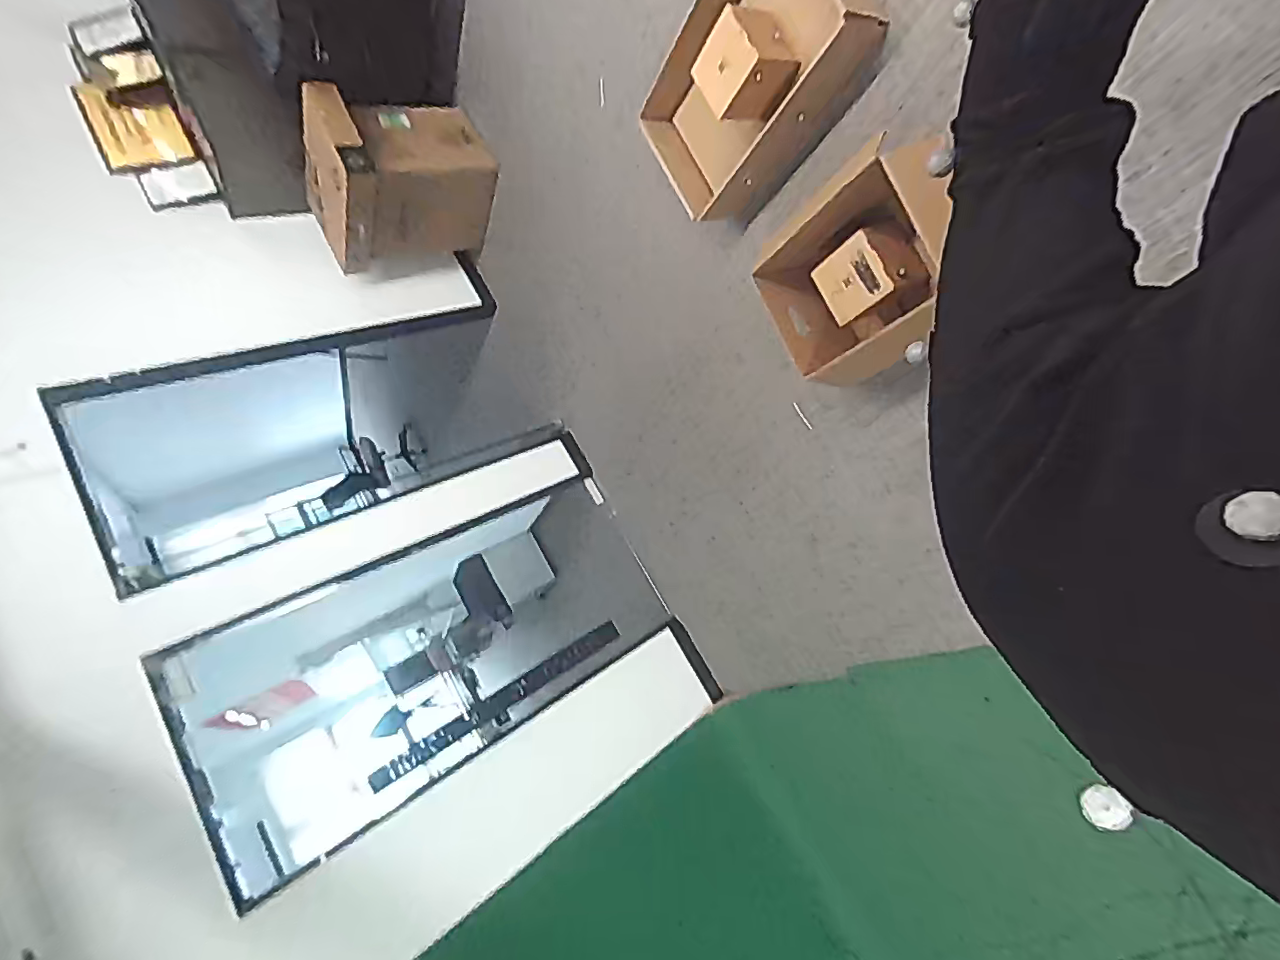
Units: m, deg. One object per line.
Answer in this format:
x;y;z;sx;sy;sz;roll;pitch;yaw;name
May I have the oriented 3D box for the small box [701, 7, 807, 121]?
0.299;-1.078;1.417;0.168;0.176;0.179;63;148;7;small box
